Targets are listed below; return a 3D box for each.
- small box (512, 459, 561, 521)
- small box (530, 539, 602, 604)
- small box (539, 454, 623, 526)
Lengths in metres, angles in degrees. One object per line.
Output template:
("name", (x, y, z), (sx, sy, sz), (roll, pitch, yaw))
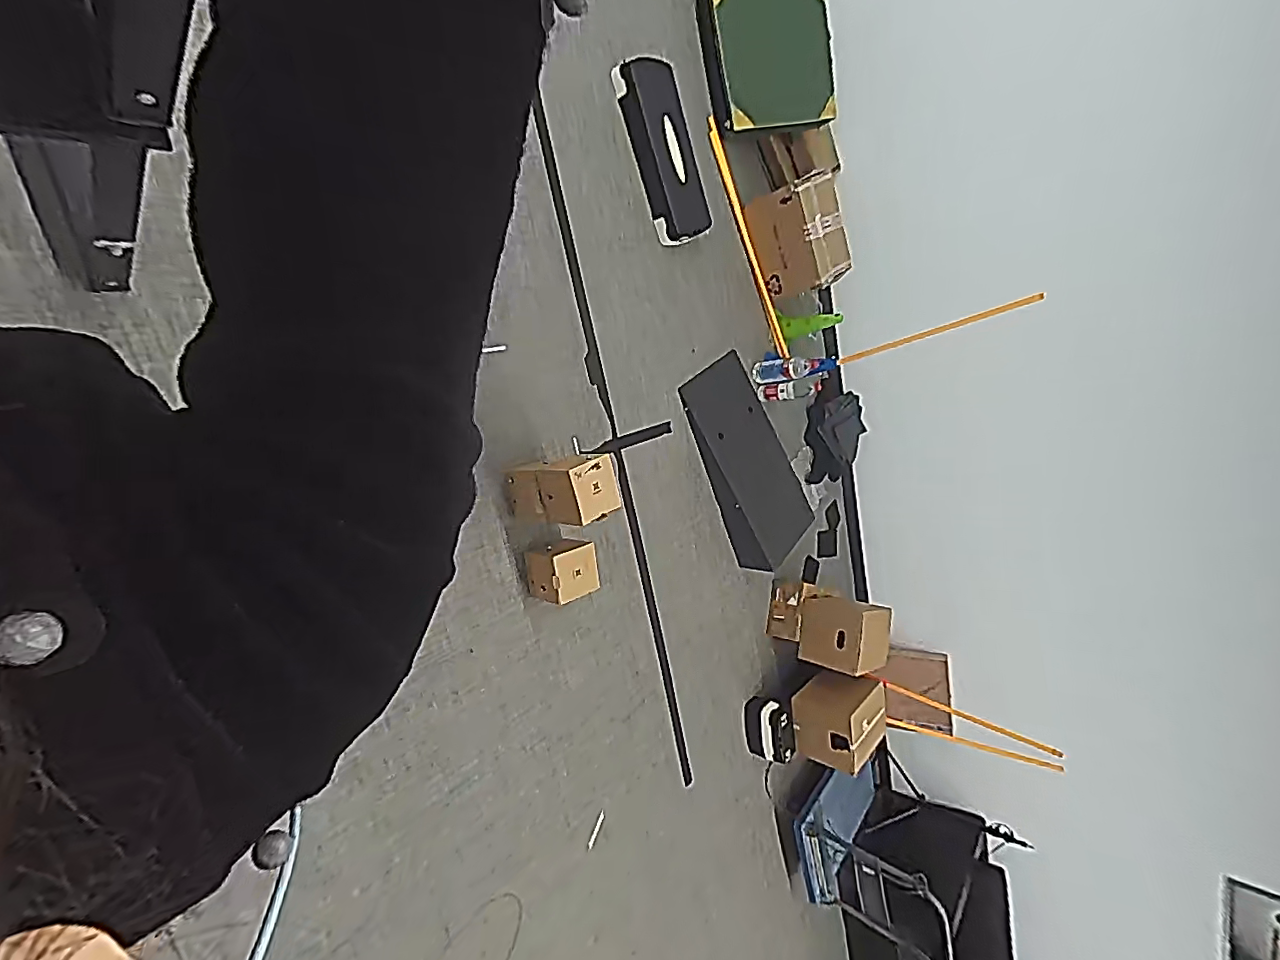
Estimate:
("small box", (-0.301, 0.029, 1.767), (0.179, 0.176, 0.168), (-21, 106, -44))
("small box", (-0.255, 0.302, 1.821), (0.179, 0.176, 0.168), (-16, 103, -45))
("small box", (-0.182, 0.025, 1.653), (0.168, 0.176, 0.179), (-27, 110, -43))
